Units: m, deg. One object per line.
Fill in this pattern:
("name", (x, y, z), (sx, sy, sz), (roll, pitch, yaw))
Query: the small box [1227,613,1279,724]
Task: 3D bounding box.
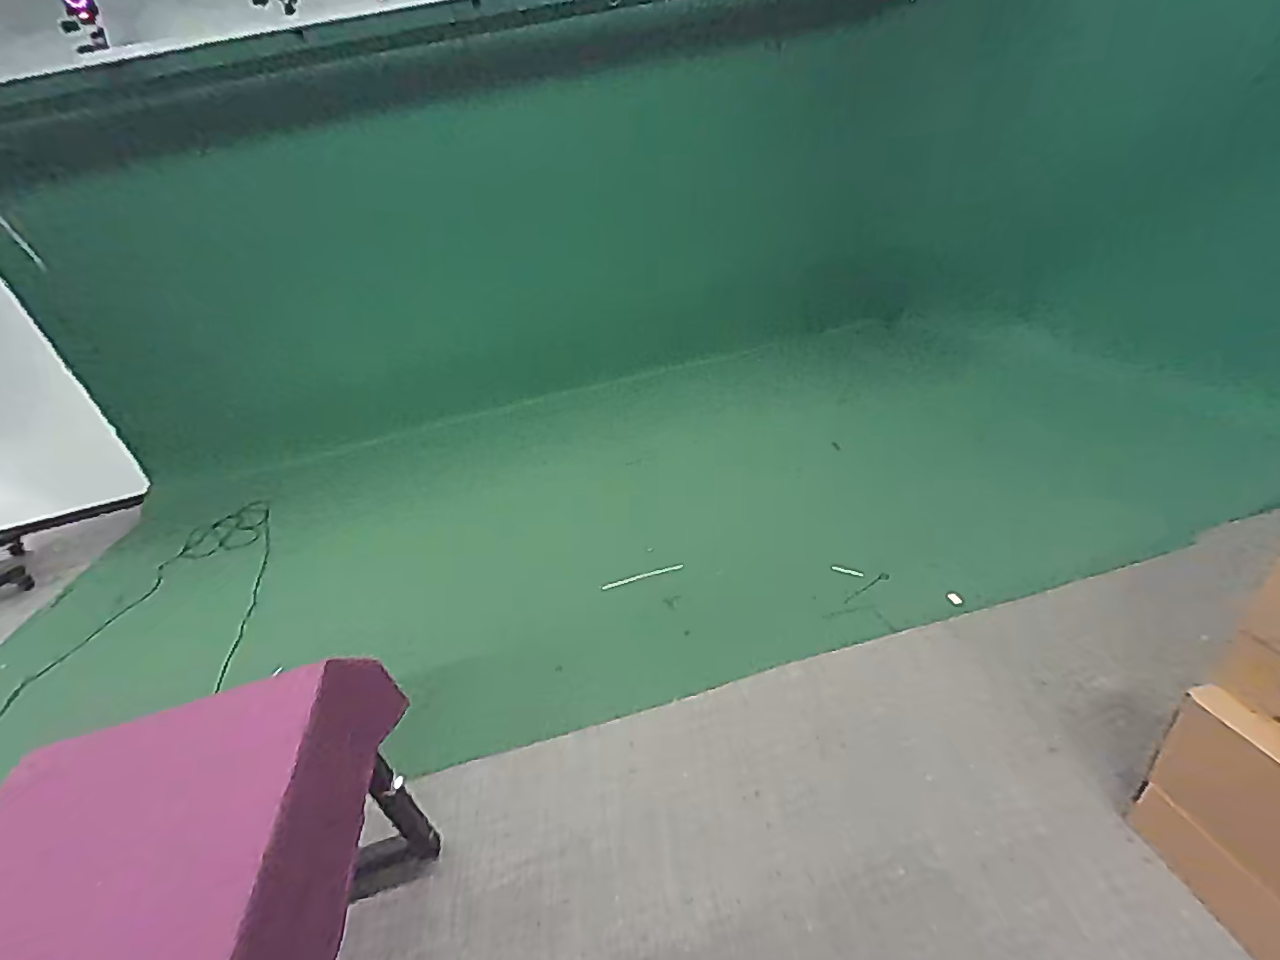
("small box", (1.215, 0.345, 0.959), (0.179, 0.176, 0.168), (-15, 32, -3))
